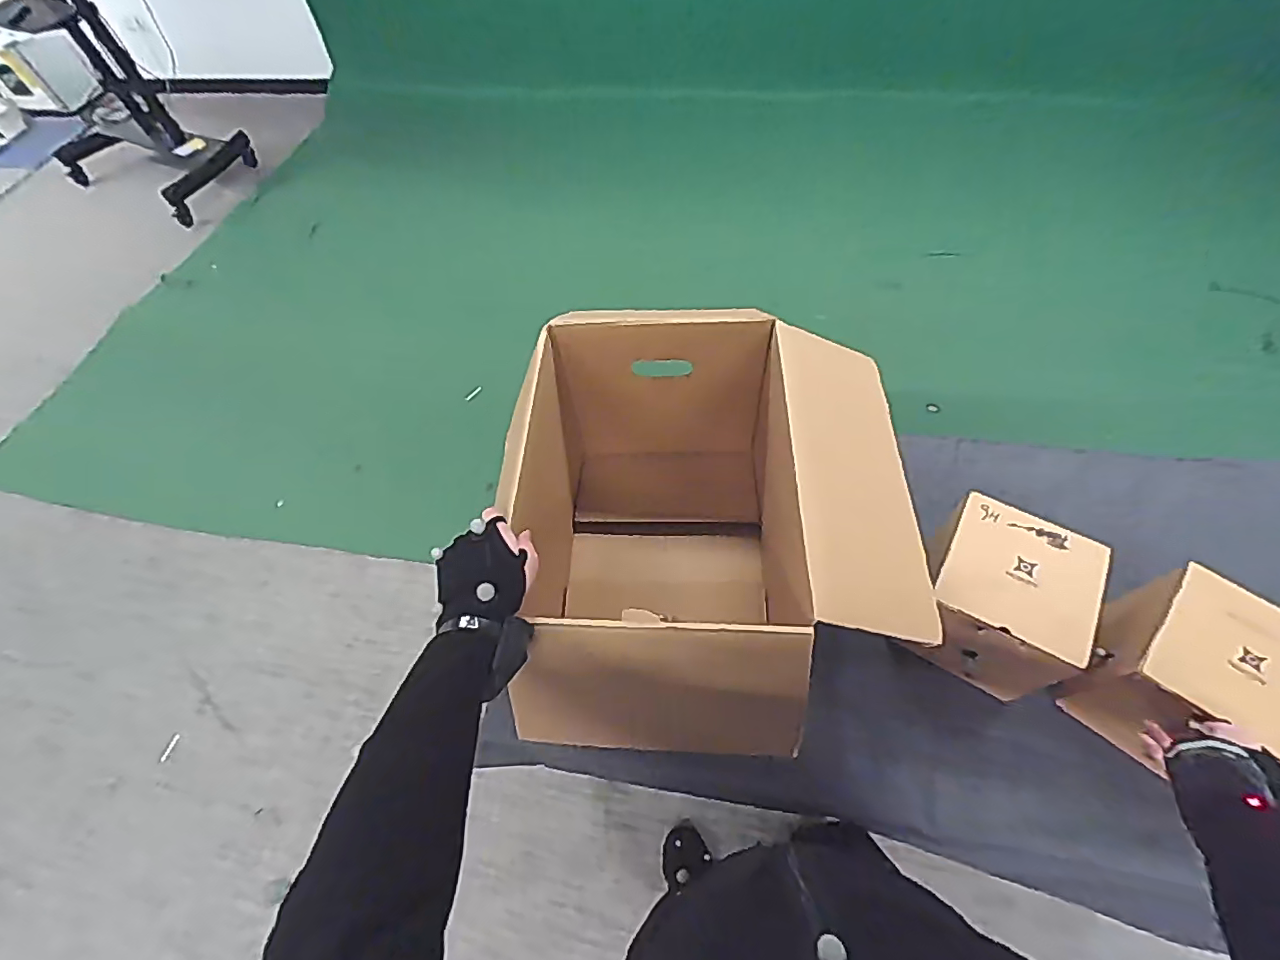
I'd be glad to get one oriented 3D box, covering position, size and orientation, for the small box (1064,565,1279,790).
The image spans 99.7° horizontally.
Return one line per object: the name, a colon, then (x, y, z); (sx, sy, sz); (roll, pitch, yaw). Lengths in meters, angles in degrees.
small box: (0.662, 0.241, 0.648); (0.168, 0.176, 0.179); (37, 67, 23)
